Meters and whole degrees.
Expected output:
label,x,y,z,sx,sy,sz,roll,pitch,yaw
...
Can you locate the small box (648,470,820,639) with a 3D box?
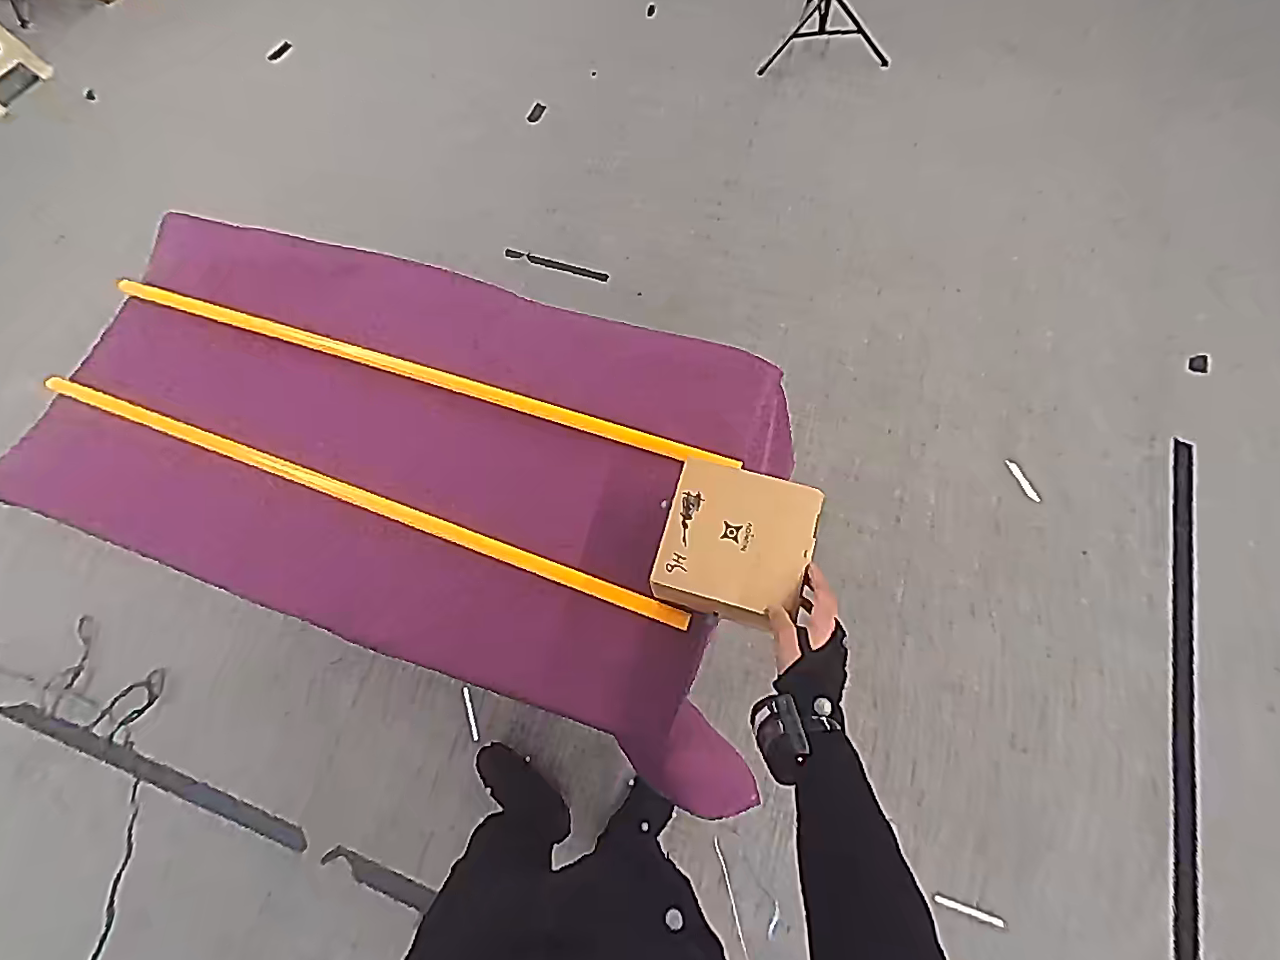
label,x,y,z,sx,sy,sz,roll,pitch,yaw
small box,0.120,0.107,0.728,0.179,0.176,0.168,16,73,9
